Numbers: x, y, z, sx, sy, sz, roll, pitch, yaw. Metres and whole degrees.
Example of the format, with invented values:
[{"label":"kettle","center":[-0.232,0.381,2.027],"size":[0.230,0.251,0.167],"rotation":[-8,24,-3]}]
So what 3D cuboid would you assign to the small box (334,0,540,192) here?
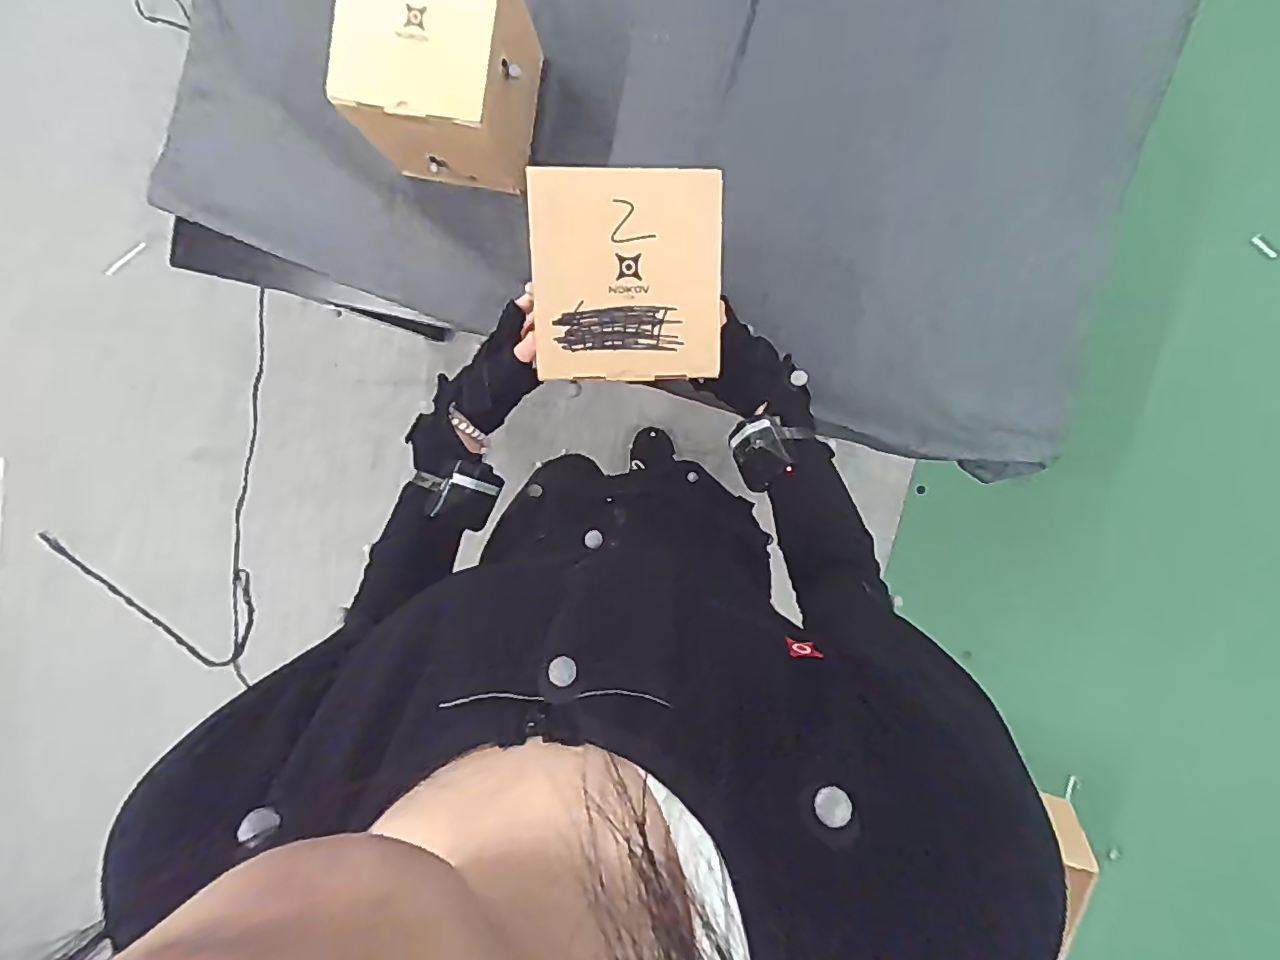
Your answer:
[{"label":"small box","center":[-0.222,-0.473,0.633],"size":[0.168,0.176,0.179],"rotation":[11,97,1]}]
